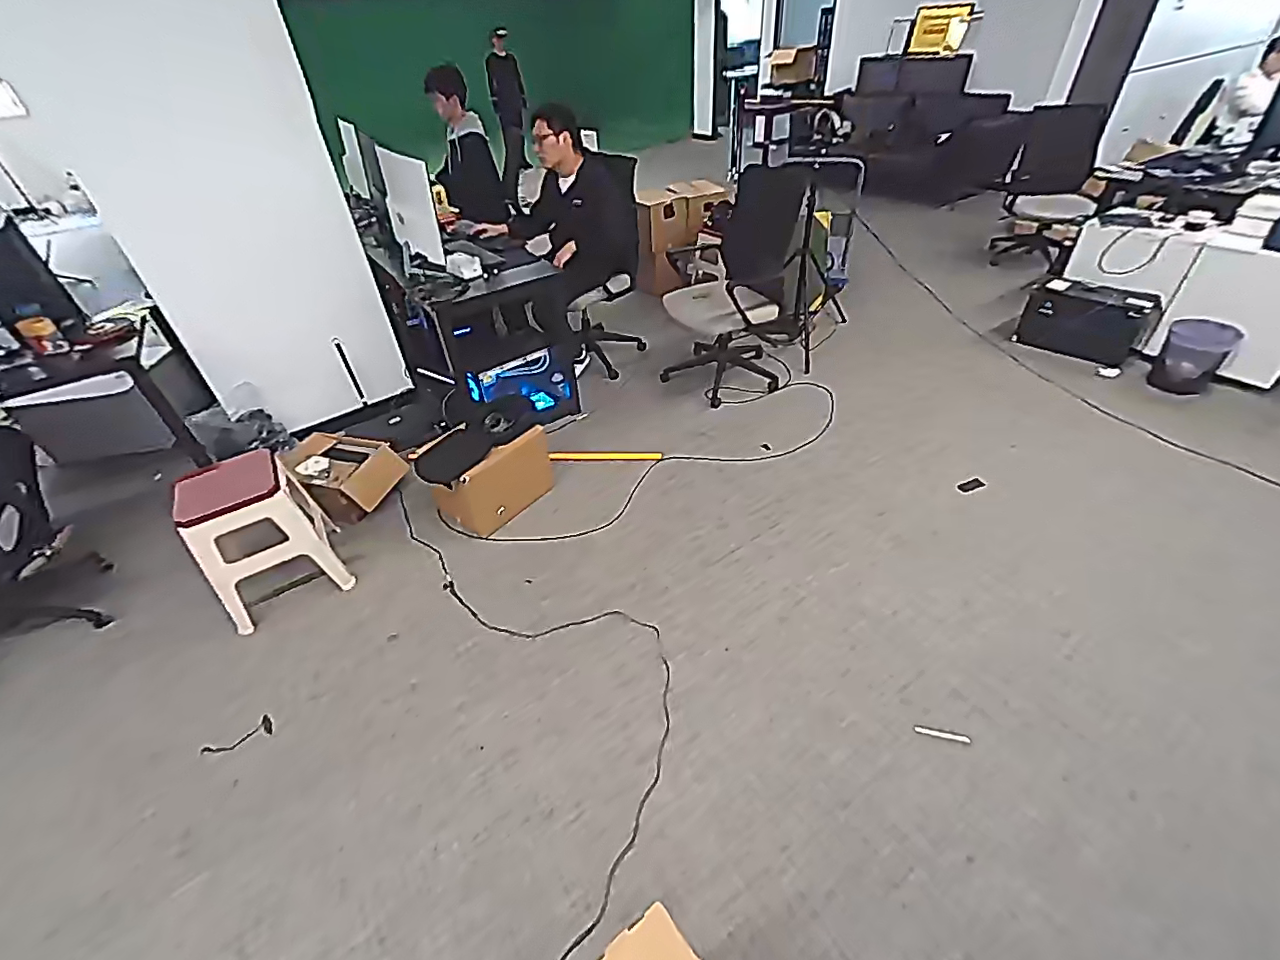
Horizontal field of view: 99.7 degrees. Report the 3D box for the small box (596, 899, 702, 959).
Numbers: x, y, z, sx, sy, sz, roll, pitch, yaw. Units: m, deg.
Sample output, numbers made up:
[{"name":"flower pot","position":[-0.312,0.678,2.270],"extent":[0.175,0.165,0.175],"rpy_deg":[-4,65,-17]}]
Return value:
[{"name":"small box","position":[0.023,0.787,0.802],"extent":[0.168,0.176,0.179],"rpy_deg":[-29,46,-27]}]
